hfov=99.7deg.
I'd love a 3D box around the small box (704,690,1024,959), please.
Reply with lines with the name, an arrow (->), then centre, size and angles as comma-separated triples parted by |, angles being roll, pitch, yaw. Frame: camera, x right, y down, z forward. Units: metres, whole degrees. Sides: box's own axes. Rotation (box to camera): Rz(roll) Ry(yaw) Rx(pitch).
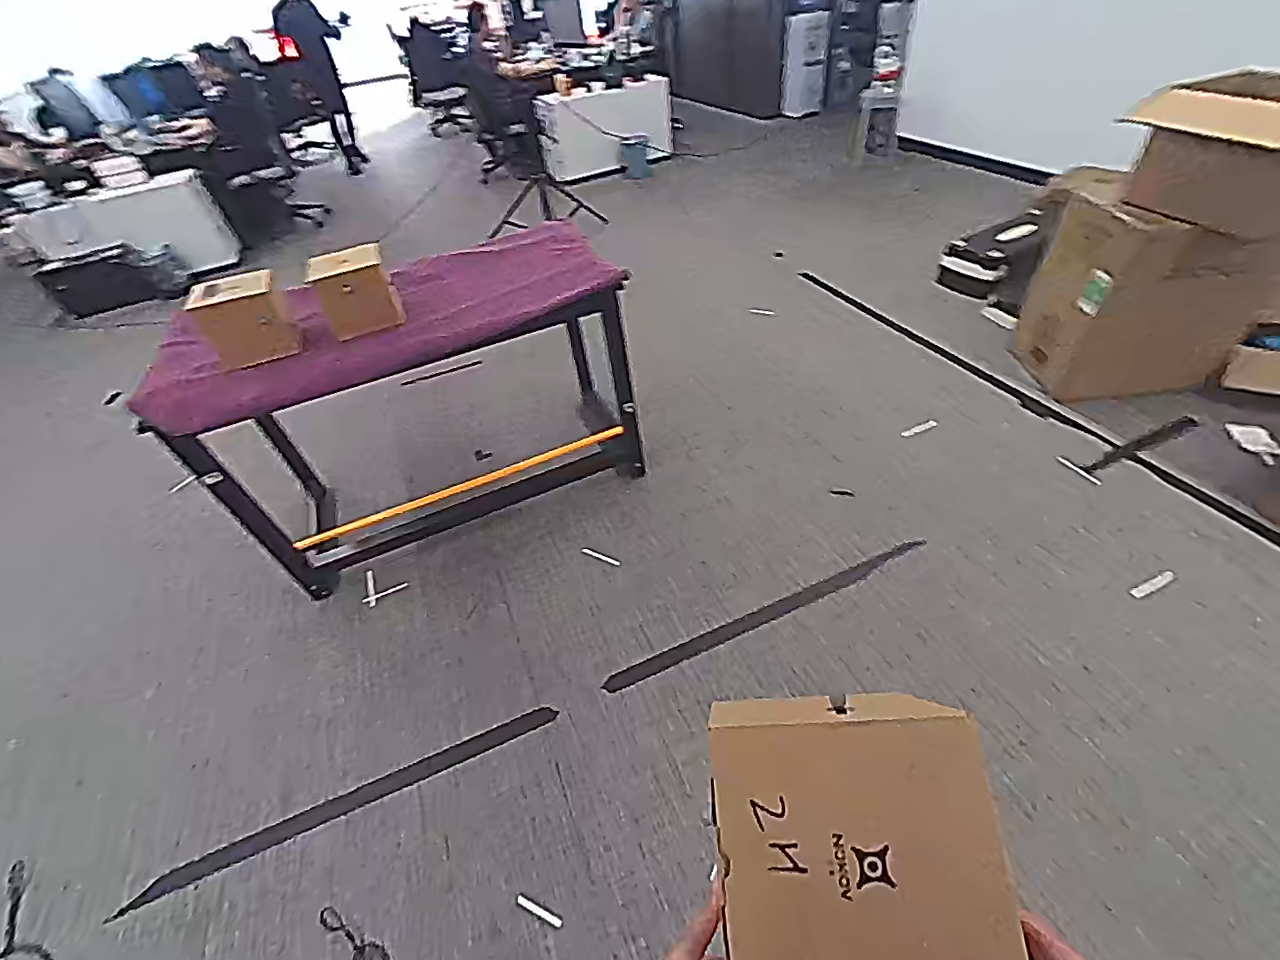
small box -> 0.144, 0.257, 0.412 | 0.179, 0.176, 0.168 | -6, 72, 7

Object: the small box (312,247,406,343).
small box -> -0.746, -0.495, 1.450 | 0.179, 0.176, 0.168 | -22, 45, -12
